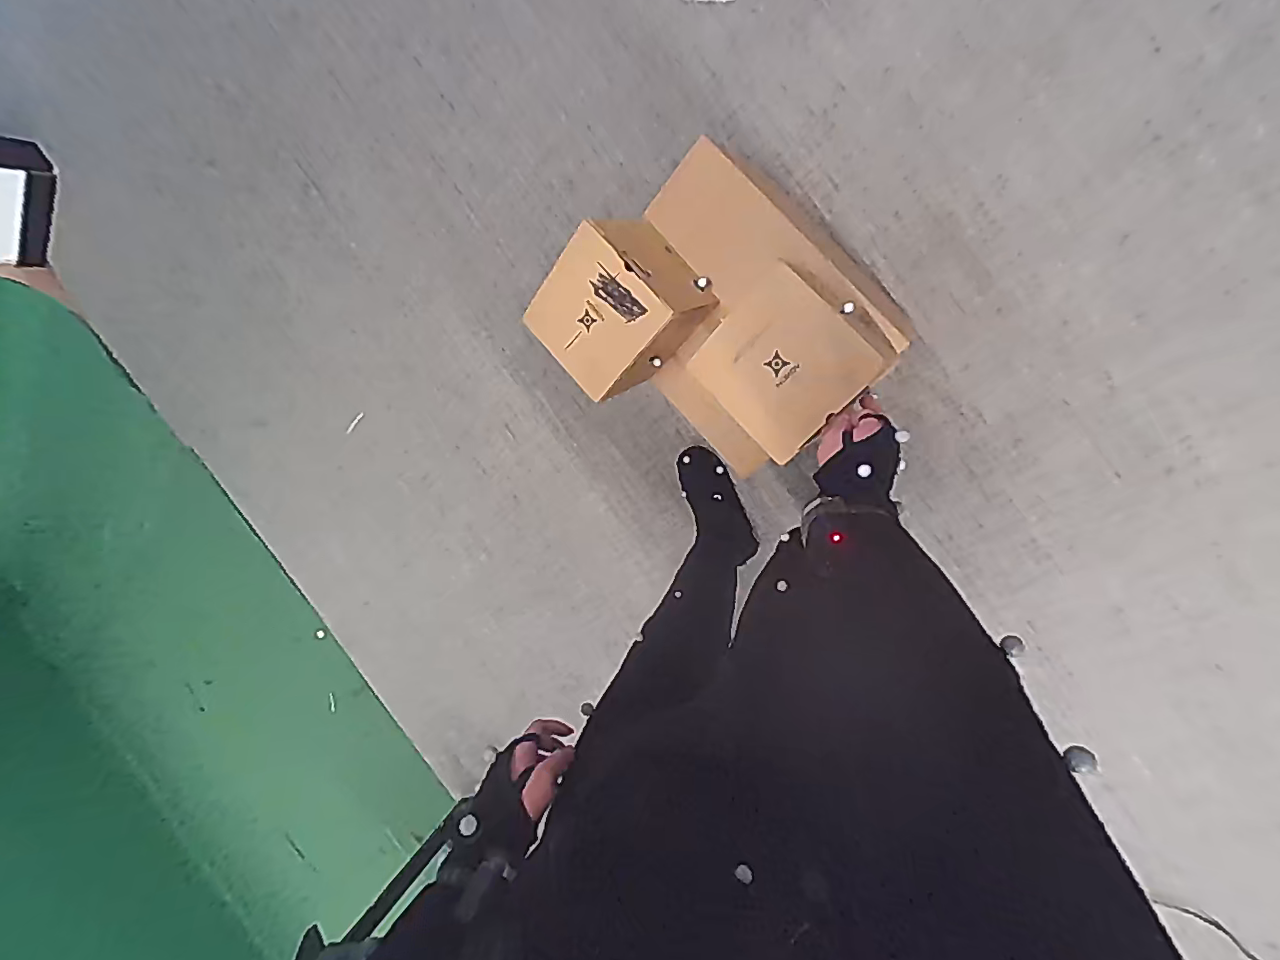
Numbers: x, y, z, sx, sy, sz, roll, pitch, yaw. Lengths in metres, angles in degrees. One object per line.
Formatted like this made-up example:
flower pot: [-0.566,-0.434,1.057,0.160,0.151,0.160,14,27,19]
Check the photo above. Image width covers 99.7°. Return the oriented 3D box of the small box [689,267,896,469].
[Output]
small box: [0.202,-0.143,0.692,0.179,0.176,0.168,48,119,11]

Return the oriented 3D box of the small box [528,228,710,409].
small box: [-0.020,-0.235,0.779,0.168,0.176,0.179,49,126,3]
